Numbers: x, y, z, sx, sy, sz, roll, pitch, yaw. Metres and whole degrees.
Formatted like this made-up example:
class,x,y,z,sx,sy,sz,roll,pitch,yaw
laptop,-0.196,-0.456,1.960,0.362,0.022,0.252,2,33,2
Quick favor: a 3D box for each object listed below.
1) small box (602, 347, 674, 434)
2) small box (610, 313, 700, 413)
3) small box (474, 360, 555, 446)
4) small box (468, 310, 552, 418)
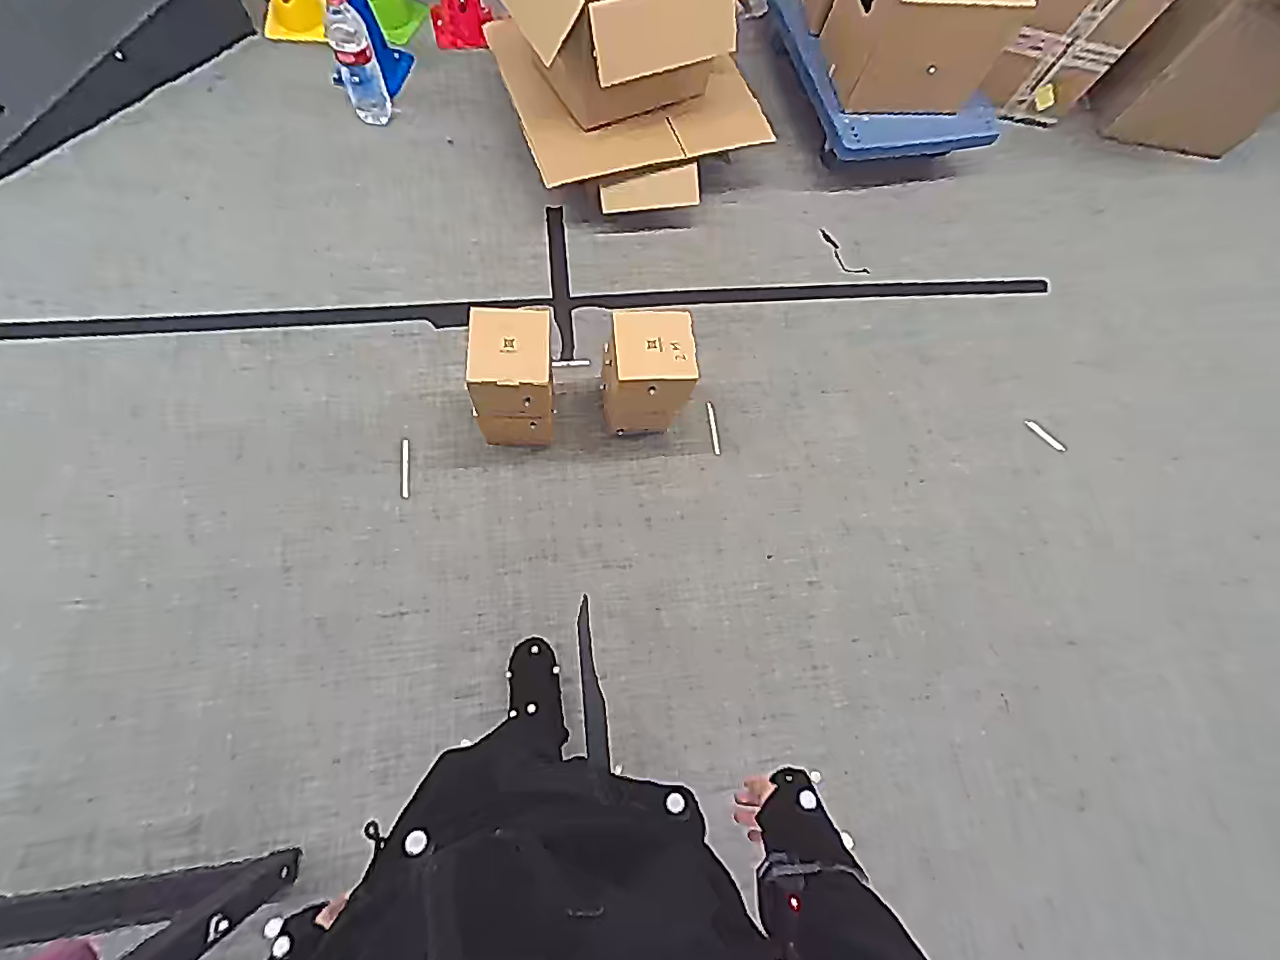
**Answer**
class,x,y,z,sx,sy,sz,roll,pitch,yaw
small box,-0.005,-0.226,1.386,0.168,0.176,0.179,-5,73,-10
small box,0.024,-0.259,1.226,0.179,0.176,0.168,-3,74,-10
small box,-0.302,-0.189,1.334,0.179,0.176,0.168,1,72,-8
small box,-0.277,-0.246,1.184,0.168,0.176,0.179,0,71,-10
